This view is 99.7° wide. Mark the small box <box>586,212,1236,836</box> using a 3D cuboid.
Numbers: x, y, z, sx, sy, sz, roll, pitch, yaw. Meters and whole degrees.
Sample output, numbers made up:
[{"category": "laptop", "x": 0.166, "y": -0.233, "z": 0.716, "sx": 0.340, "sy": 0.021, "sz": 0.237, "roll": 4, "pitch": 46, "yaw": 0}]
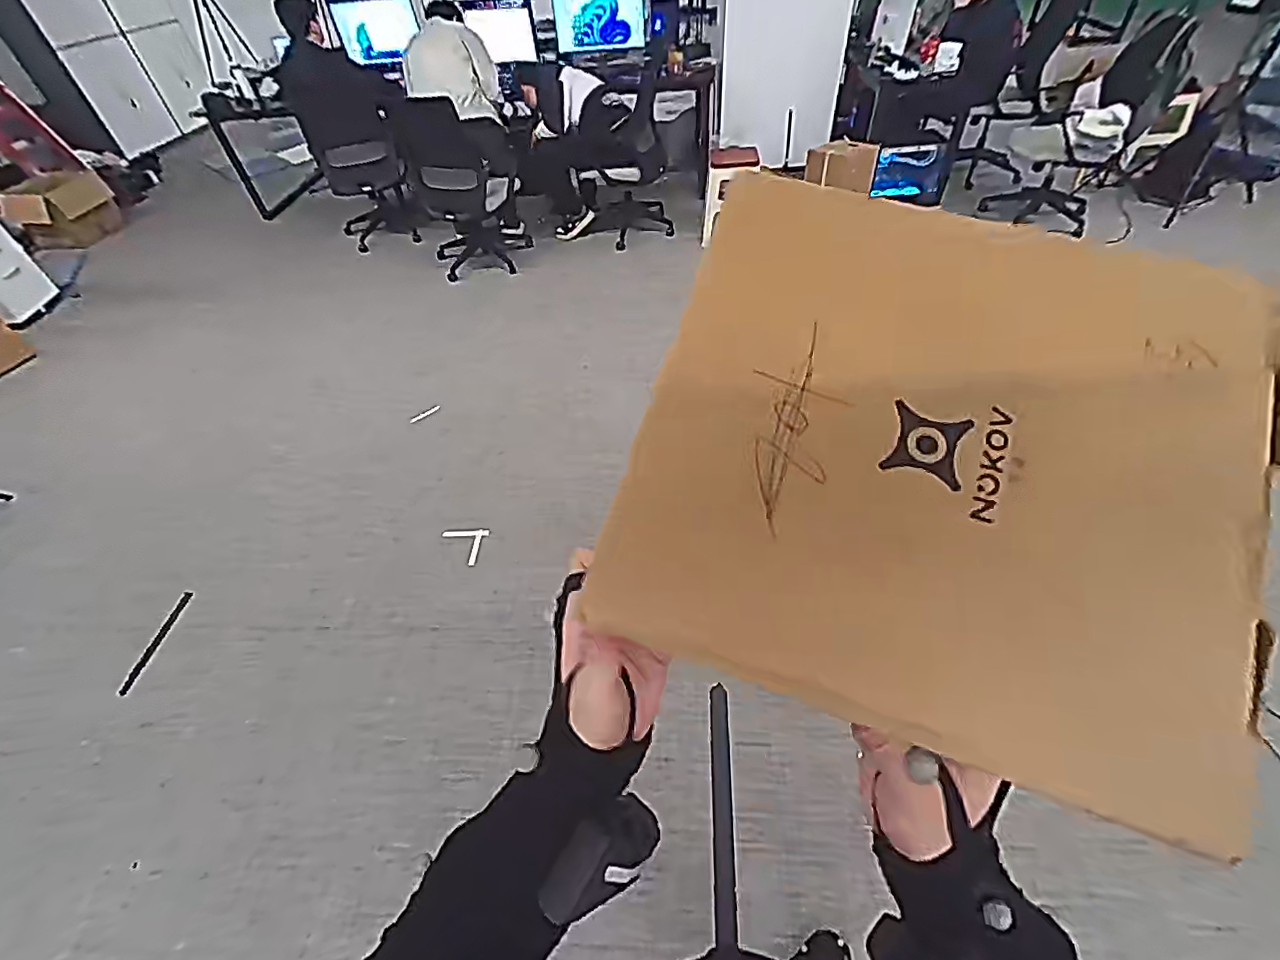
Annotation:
[{"category": "small box", "x": 0.095, "y": 0.018, "z": 0.249, "sx": 0.179, "sy": 0.176, "sz": 0.168, "roll": 15, "pitch": 76, "yaw": 10}]
